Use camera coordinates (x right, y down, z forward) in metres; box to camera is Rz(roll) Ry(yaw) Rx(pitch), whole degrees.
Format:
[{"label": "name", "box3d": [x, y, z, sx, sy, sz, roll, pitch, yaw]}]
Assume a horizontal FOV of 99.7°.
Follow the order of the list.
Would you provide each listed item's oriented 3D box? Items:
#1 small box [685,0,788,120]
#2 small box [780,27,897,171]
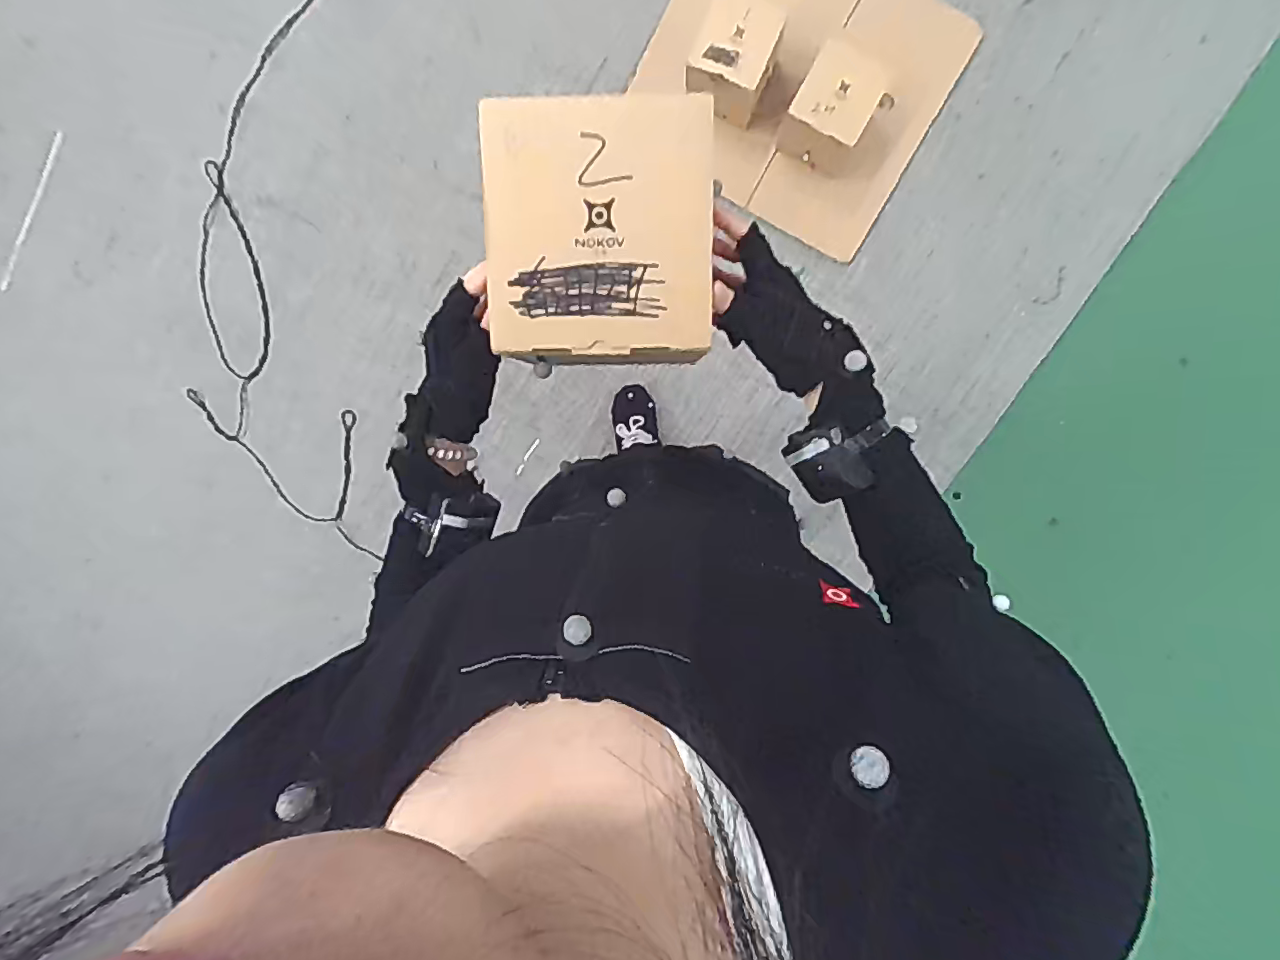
[{"label": "small box", "box3d": [0.212, -0.966, 1.226, 0.168, 0.176, 0.179, 24, 99, 1]}, {"label": "small box", "box3d": [0.437, -0.853, 1.229, 0.168, 0.176, 0.179, 29, 100, 1]}]
